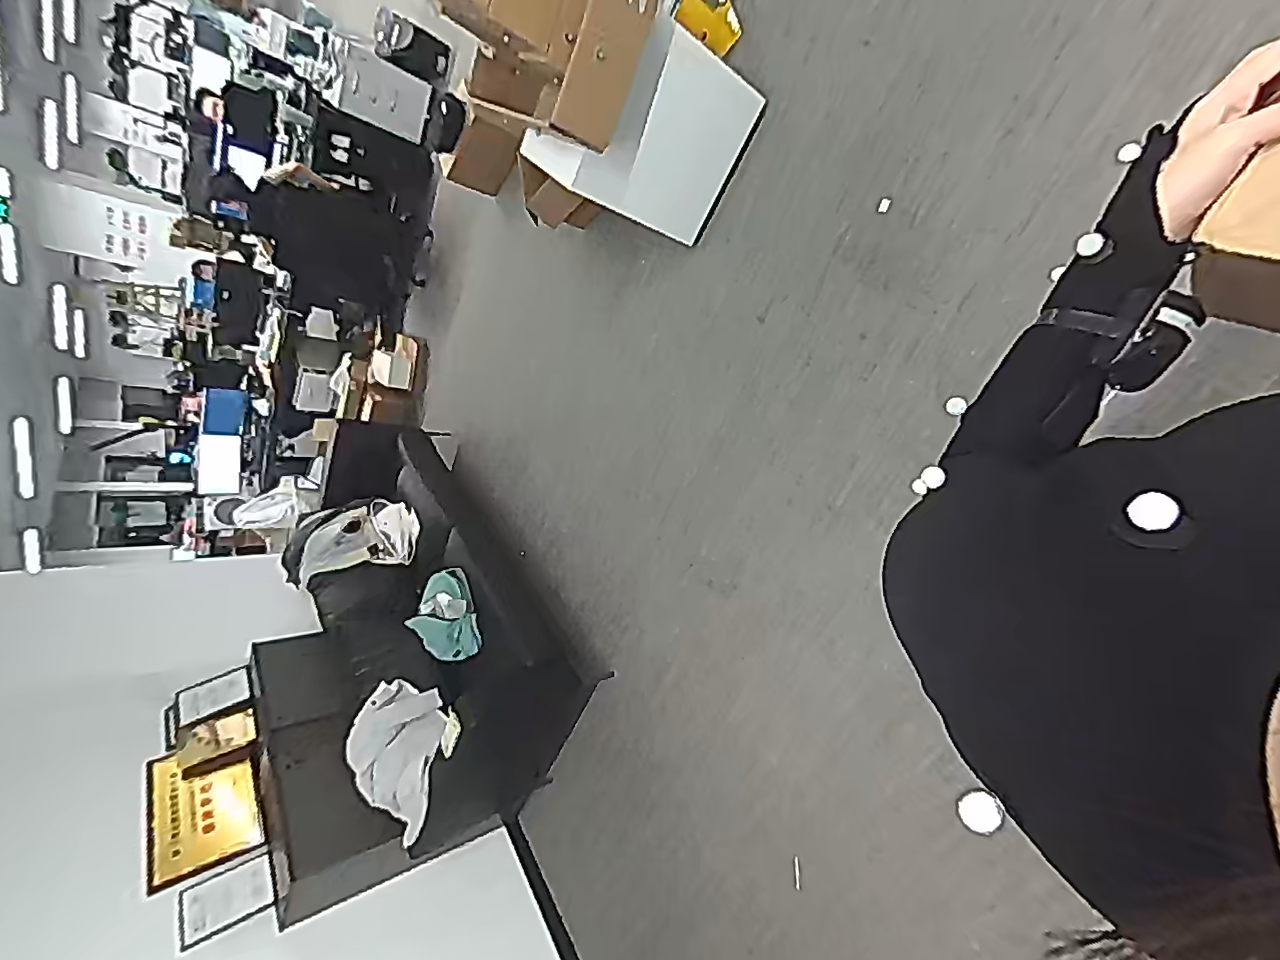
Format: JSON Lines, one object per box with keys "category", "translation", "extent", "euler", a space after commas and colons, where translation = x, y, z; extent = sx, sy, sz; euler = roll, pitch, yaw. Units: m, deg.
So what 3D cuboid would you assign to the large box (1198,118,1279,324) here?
{"category": "large box", "translation": [0.667, -0.226, 0.305], "extent": [0.408, 0.320, 0.320], "euler": [36, 118, 37]}
